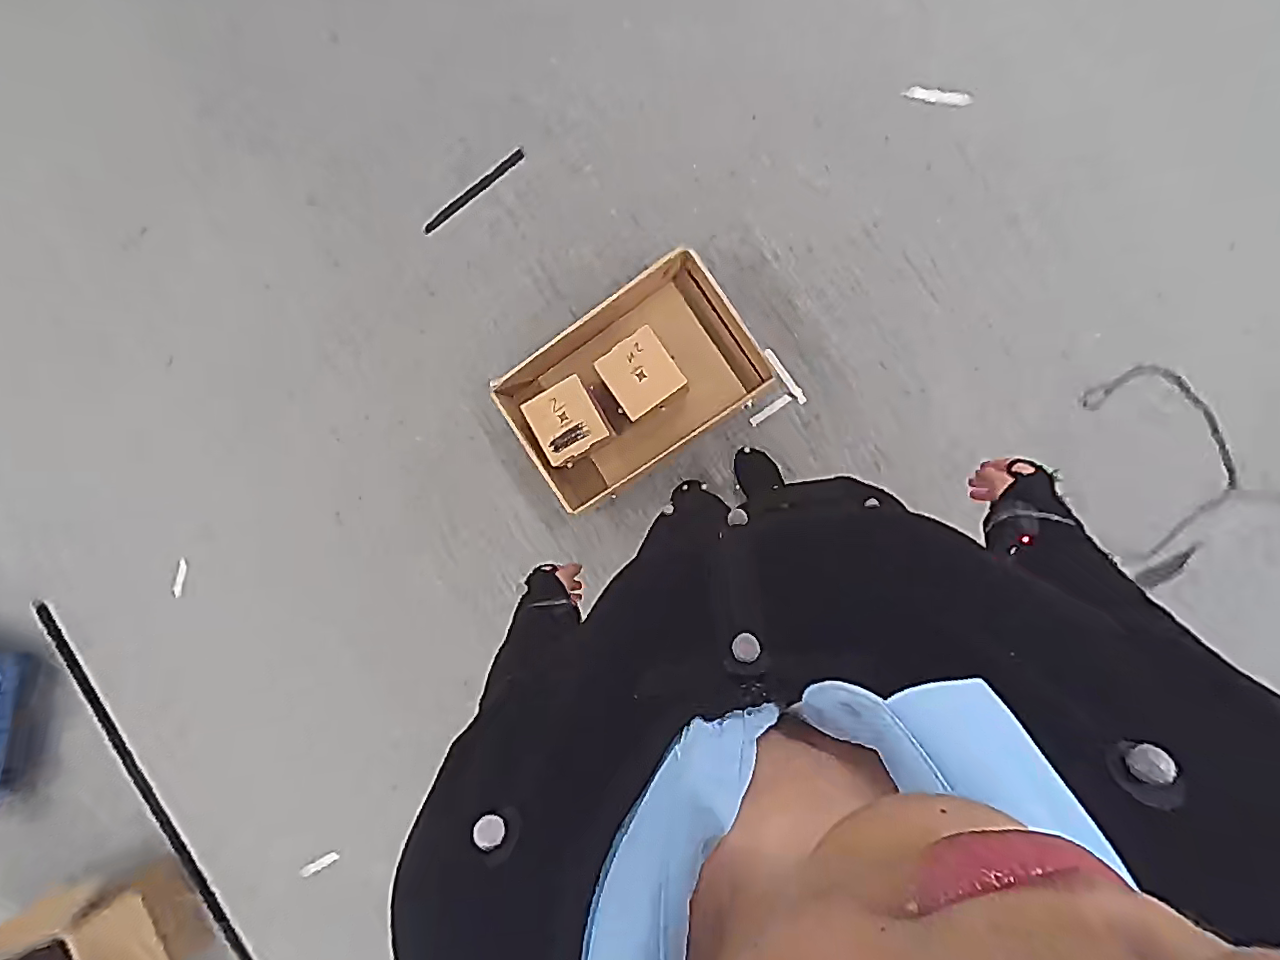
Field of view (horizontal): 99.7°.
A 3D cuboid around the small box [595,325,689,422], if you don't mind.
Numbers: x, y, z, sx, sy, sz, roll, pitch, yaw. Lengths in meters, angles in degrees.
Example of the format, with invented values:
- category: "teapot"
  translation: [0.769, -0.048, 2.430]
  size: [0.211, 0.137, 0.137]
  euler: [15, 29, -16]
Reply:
- category: "small box"
  translation: [0.013, -0.262, 1.376]
  size: [0.168, 0.176, 0.179]
  euler: [-35, 88, 8]
